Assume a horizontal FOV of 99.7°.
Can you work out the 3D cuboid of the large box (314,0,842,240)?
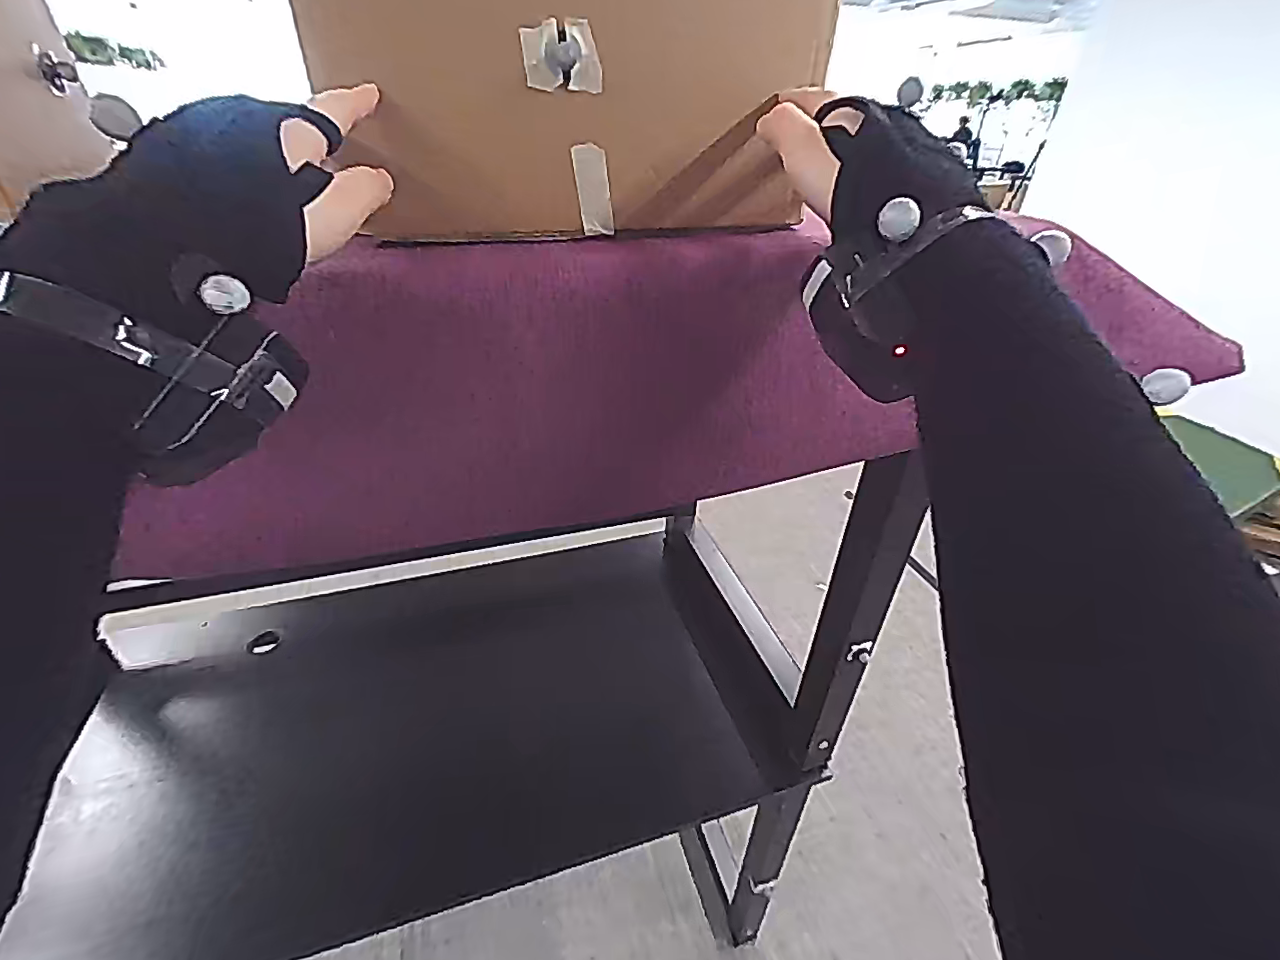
[{"bbox_3d":[-0.075,-0.394,0.434,0.320,0.320,0.408,-8,34,-14],"label":"large box"}]
